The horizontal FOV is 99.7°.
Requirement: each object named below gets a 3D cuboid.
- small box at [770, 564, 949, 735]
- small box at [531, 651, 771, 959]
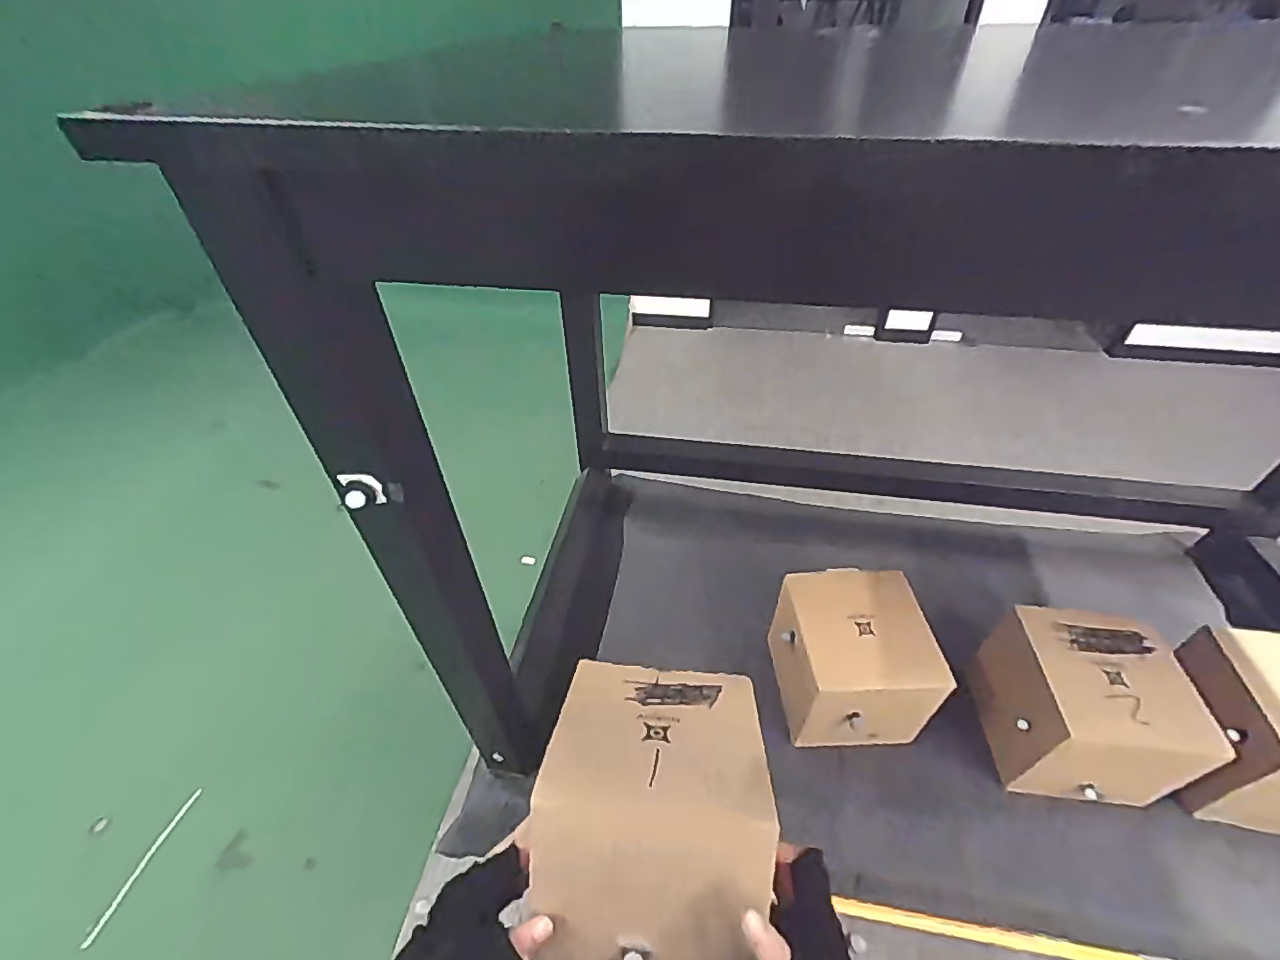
[{"bbox_3d":[0.286,0.239,0.751,0.168,0.176,0.179,-2,42,0],"label":"small box"},{"bbox_3d":[0.009,0.271,0.455,0.168,0.176,0.179,4,13,5],"label":"small box"}]
